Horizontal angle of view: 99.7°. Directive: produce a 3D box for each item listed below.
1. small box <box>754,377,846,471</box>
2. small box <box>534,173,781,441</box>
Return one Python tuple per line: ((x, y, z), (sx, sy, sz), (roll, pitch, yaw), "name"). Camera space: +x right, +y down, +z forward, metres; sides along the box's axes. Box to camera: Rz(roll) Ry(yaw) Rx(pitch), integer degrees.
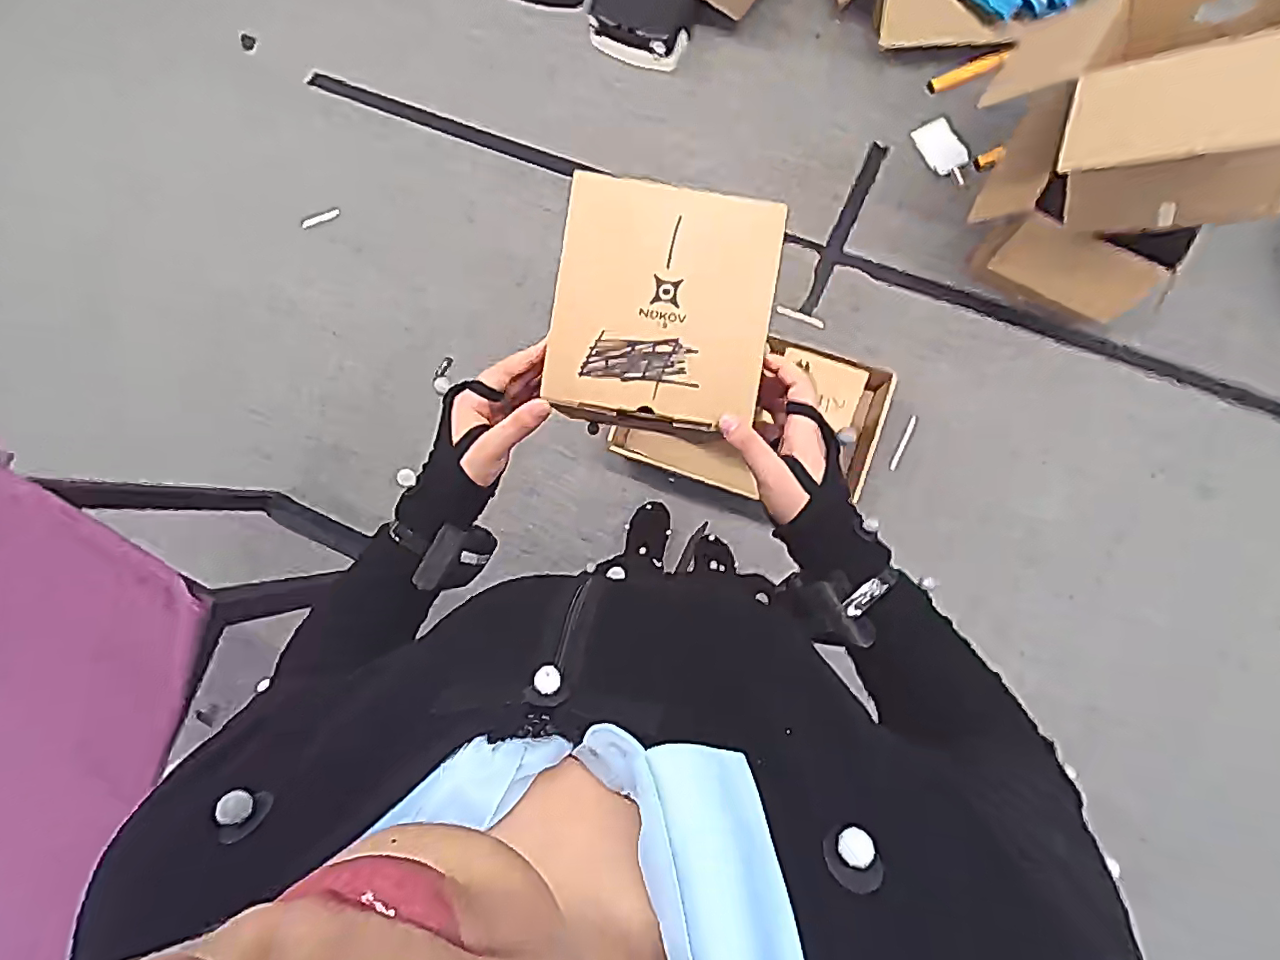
((0.391, -0.133, 1.356), (0.168, 0.176, 0.179), (20, 88, 9), "small box")
((0.013, -0.134, 0.486), (0.168, 0.176, 0.179), (9, 90, -1), "small box")
